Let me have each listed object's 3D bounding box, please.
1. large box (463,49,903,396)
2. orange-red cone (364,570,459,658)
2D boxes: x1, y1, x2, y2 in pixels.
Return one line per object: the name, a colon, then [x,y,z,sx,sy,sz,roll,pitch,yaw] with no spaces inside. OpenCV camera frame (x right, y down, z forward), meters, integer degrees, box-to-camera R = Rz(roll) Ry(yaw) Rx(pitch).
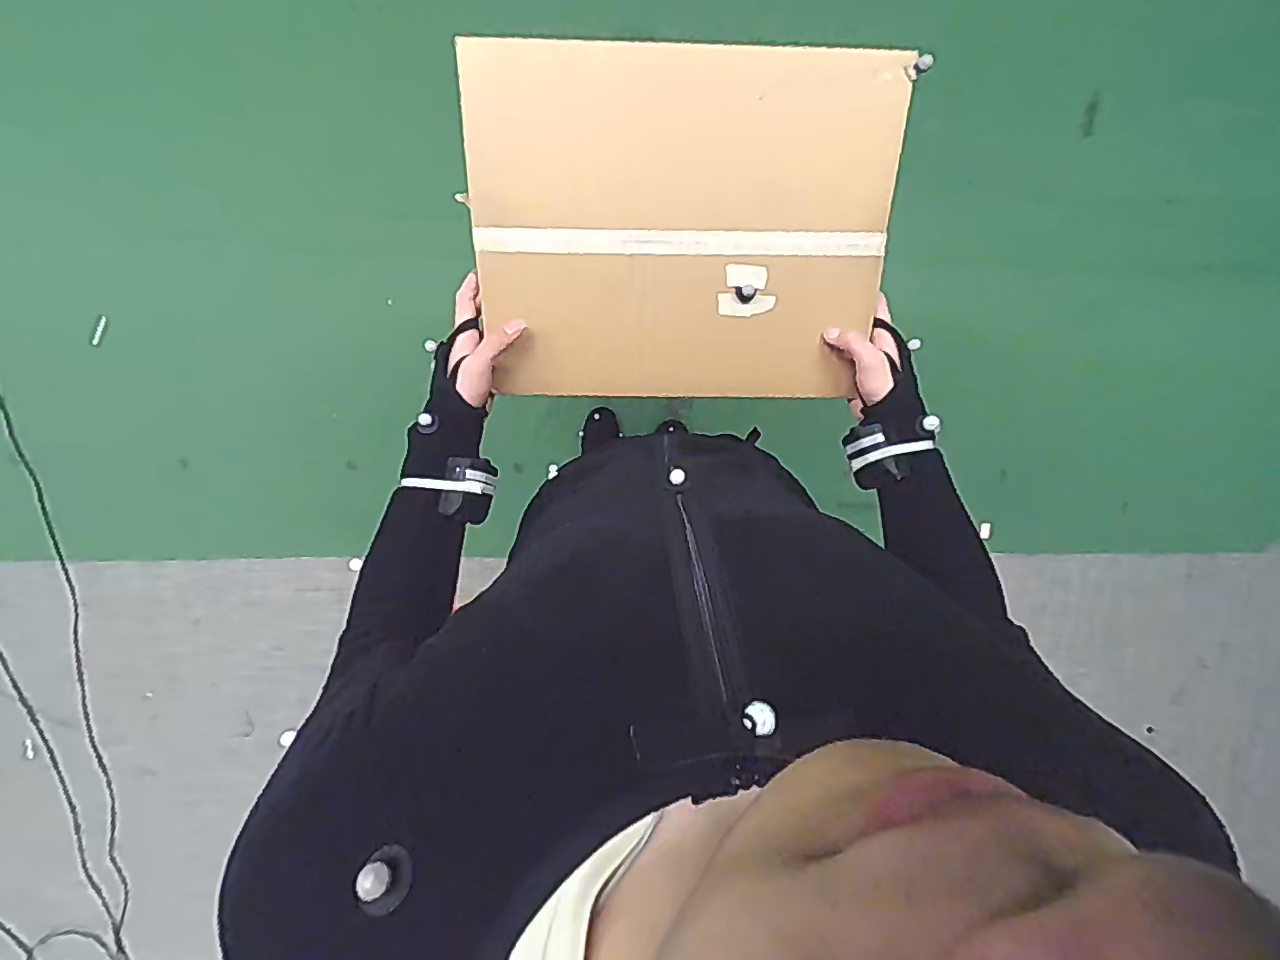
large box: [0.034,-0.297,0.676,0.408,0.320,0.320,-1,114,-2]
orange-red cone: [-0.667,0.402,1.505,0.199,0.360,0.198,7,97,-1]
